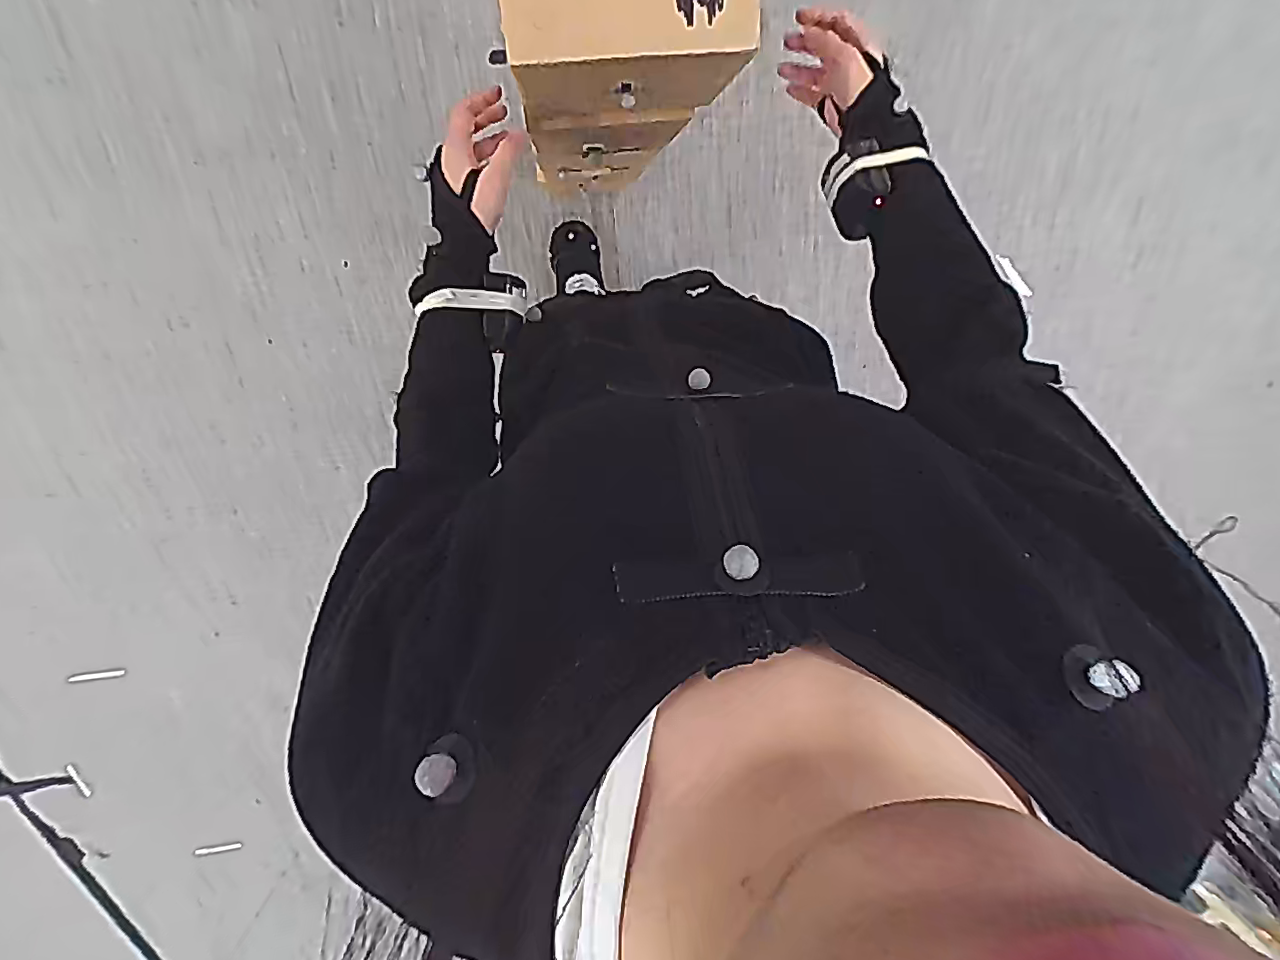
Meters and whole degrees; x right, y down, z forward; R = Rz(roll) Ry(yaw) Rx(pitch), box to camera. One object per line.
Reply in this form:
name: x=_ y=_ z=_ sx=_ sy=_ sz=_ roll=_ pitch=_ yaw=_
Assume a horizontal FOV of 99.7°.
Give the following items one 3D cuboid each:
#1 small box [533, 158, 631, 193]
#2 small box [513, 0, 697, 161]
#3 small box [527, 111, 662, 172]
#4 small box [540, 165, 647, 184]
small box: x=-0.109 y=-0.634 z=1.007 sx=0.179 sy=0.176 sz=0.168 roll=-4 pitch=115 yaw=-6
small box: x=-0.040 y=-0.447 z=0.560 sx=0.168 sy=0.176 sz=0.179 roll=-7 pitch=115 yaw=-3
small box: x=-0.063 y=-0.510 z=0.708 sx=0.168 sy=0.176 sz=0.179 roll=-6 pitch=113 yaw=-5
small box: x=-0.080 y=-0.574 z=0.858 sx=0.168 sy=0.176 sz=0.179 roll=-5 pitch=115 yaw=-6
